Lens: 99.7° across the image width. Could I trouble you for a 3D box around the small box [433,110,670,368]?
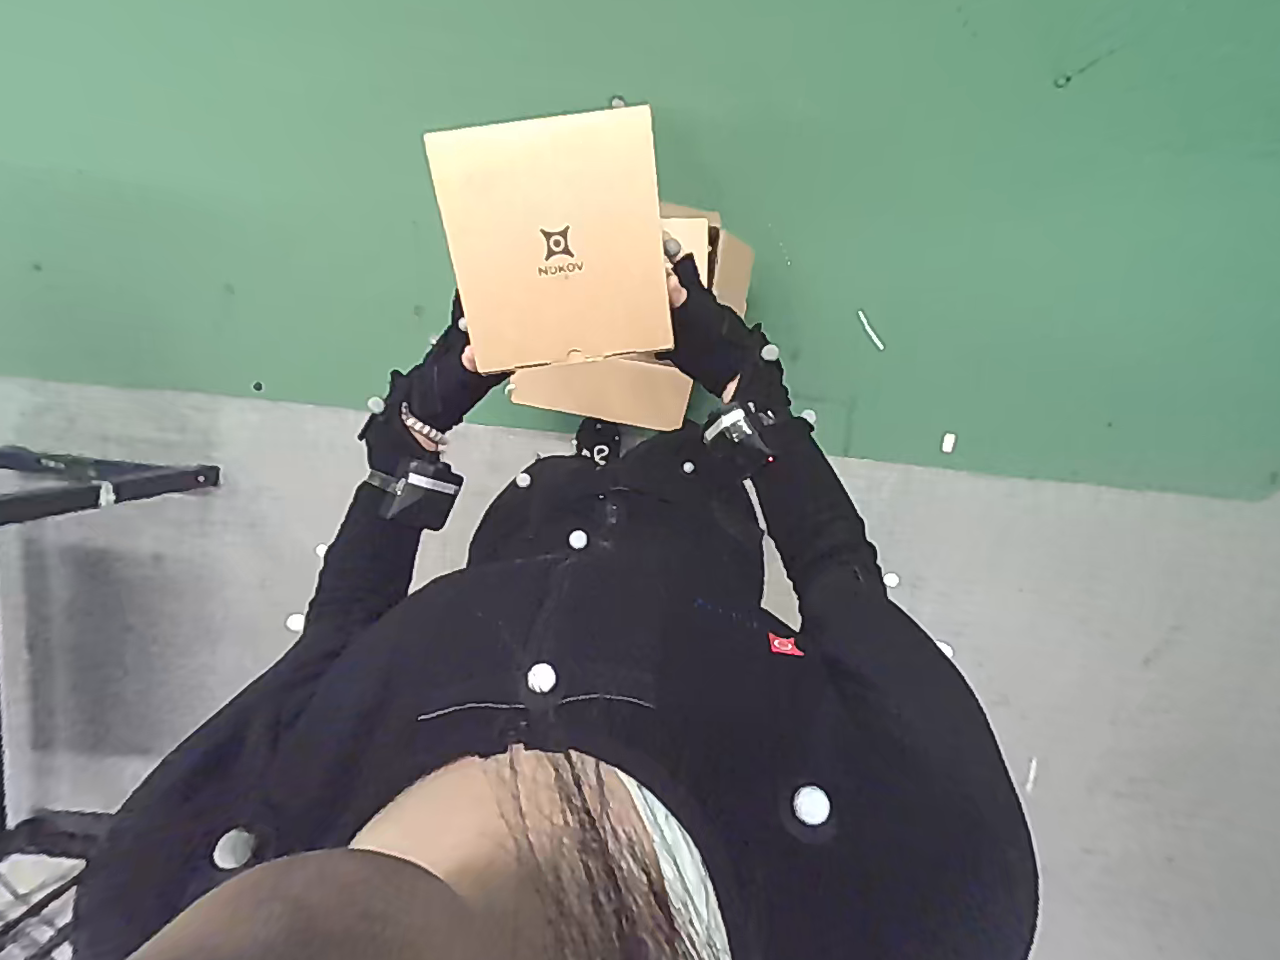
[{"bbox_3d":[-0.070,-0.213,0.502,0.168,0.176,0.179,-8,113,-1],"label":"small box"}]
